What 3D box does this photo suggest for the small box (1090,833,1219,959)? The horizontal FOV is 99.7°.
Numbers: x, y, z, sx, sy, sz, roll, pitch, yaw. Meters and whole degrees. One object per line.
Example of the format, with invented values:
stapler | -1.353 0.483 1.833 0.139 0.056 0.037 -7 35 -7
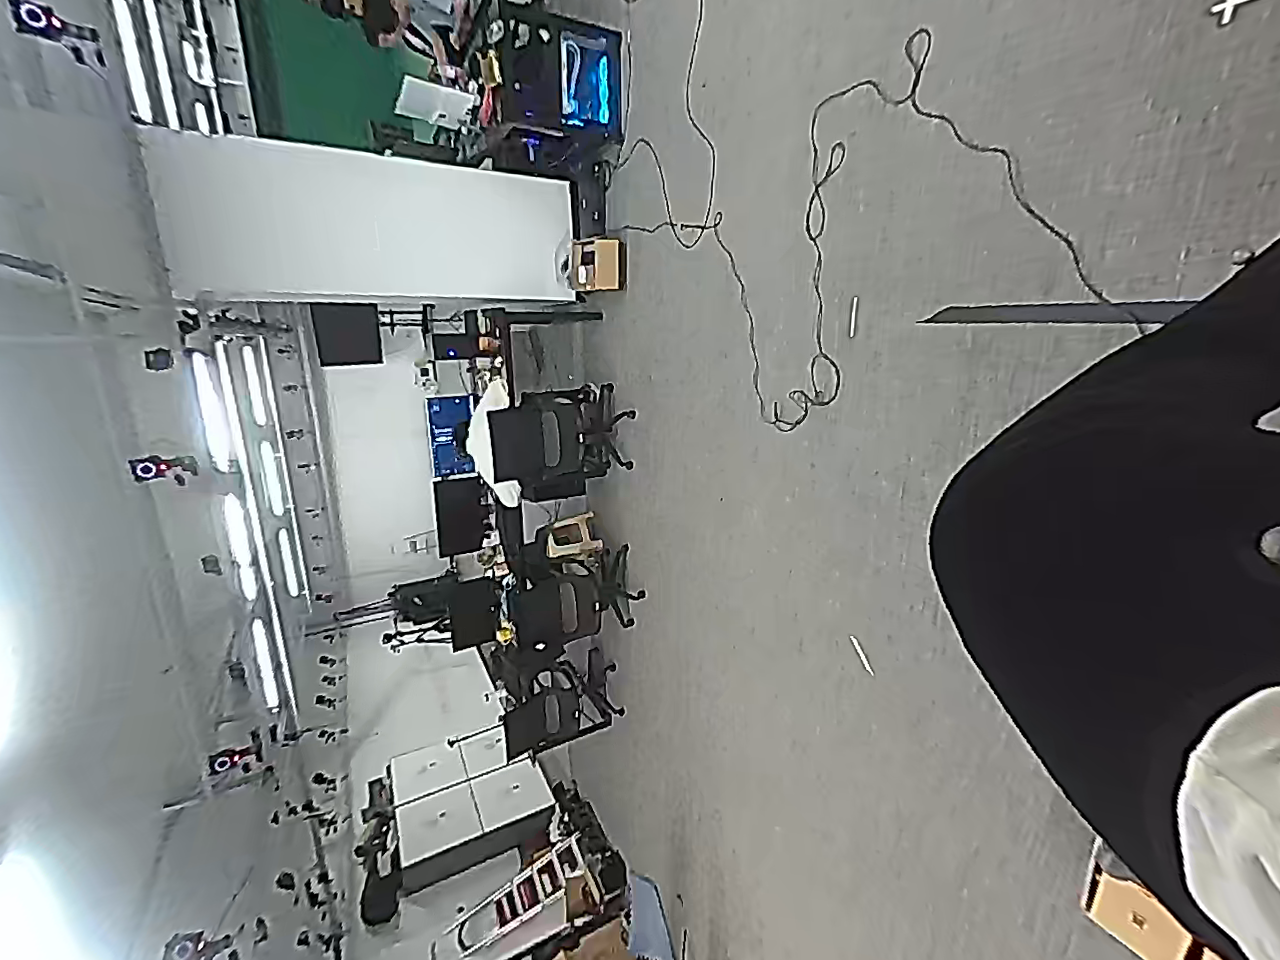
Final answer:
small box | 1.245 1.013 1.310 0.168 0.176 0.179 26 118 57
